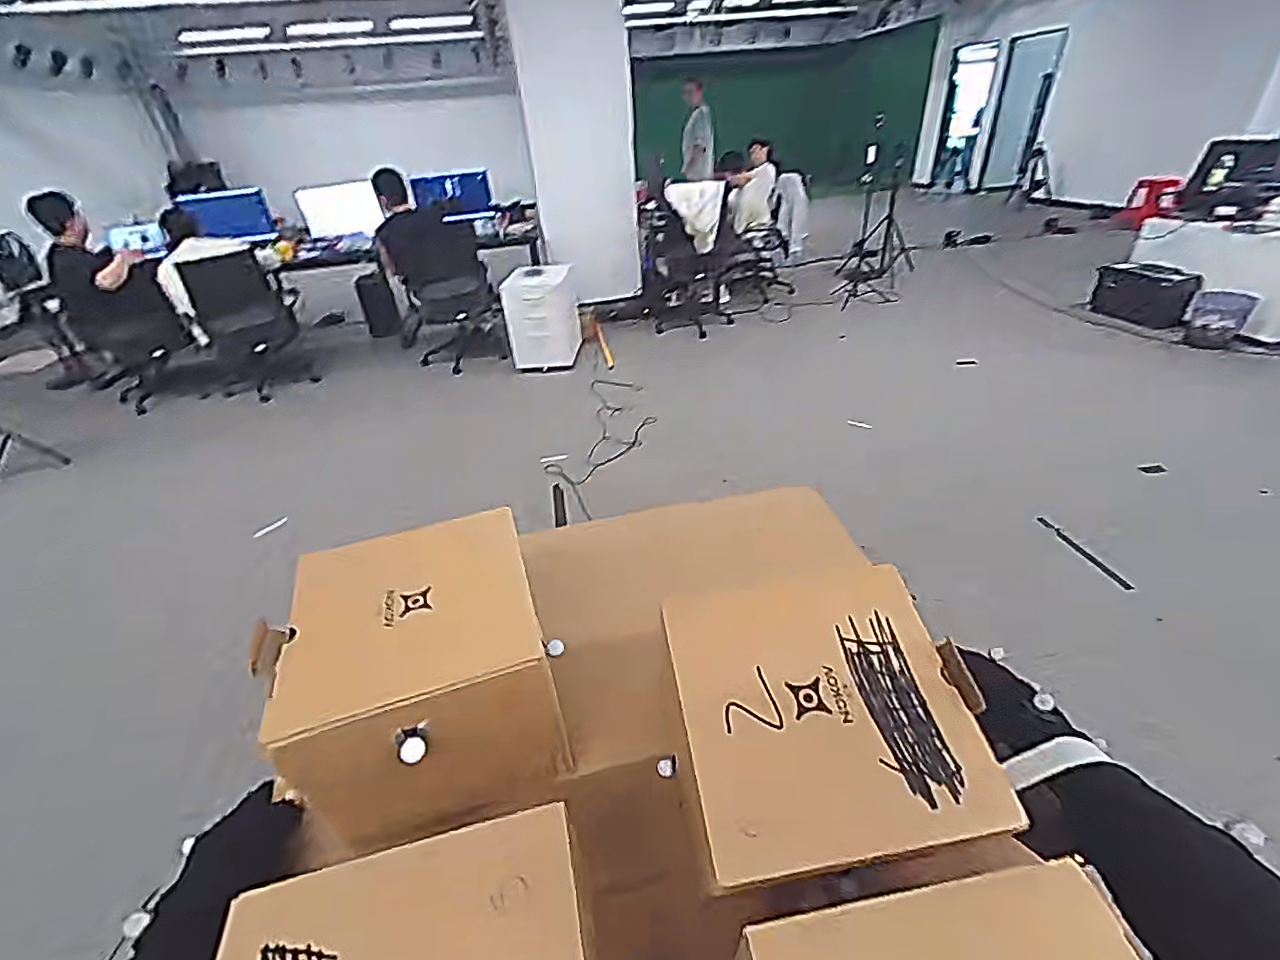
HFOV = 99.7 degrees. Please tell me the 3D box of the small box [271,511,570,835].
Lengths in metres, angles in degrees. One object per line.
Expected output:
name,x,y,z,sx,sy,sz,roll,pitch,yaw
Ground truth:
small box,-0.162,0.157,0.456,0.179,0.176,0.168,-15,38,-12
